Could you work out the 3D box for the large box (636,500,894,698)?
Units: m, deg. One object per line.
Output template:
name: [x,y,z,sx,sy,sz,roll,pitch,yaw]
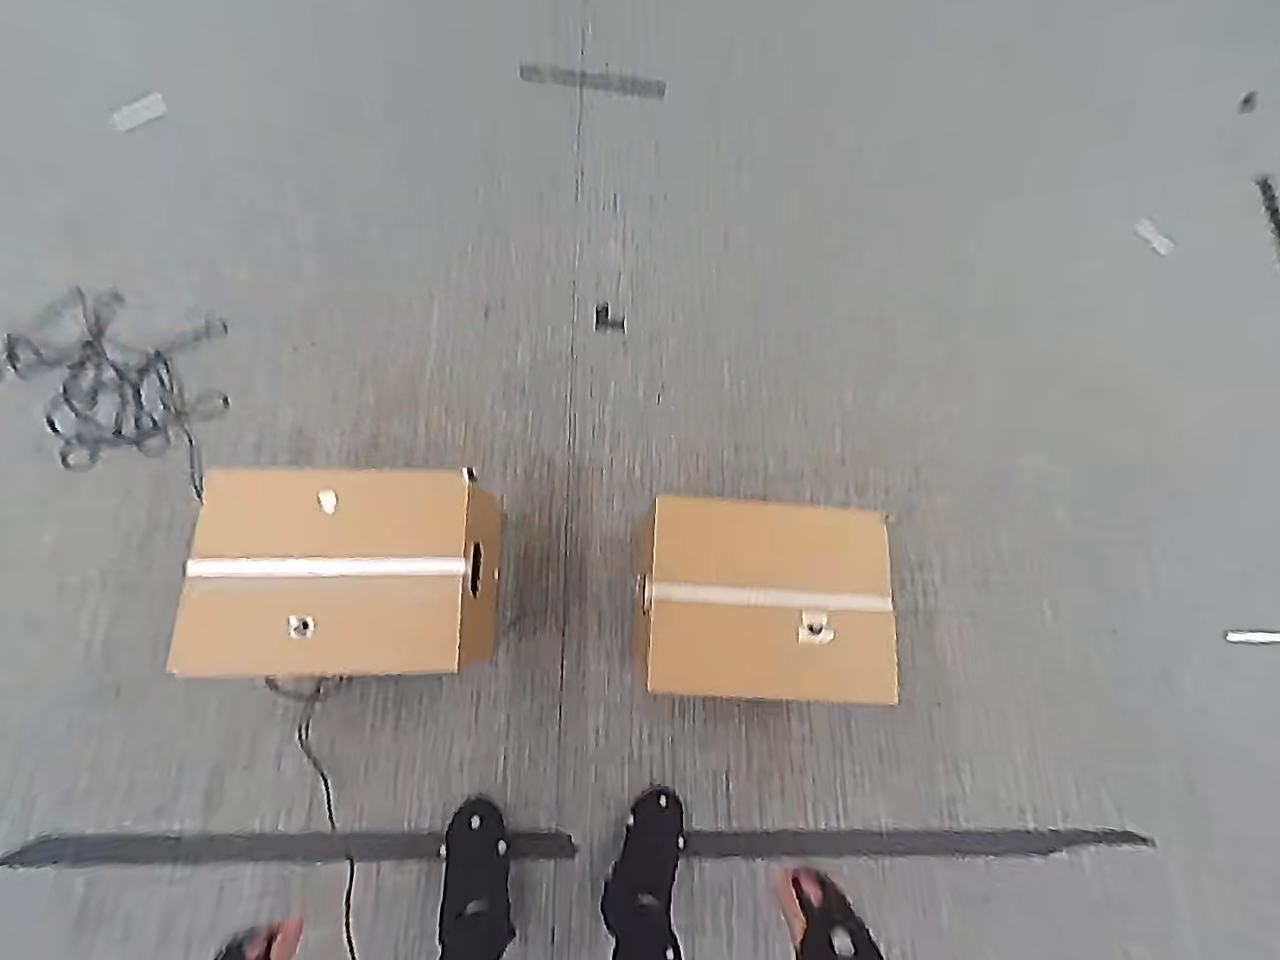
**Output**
large box: [0.206,0.234,1.041,0.408,0.320,0.320,5,75,-5]
